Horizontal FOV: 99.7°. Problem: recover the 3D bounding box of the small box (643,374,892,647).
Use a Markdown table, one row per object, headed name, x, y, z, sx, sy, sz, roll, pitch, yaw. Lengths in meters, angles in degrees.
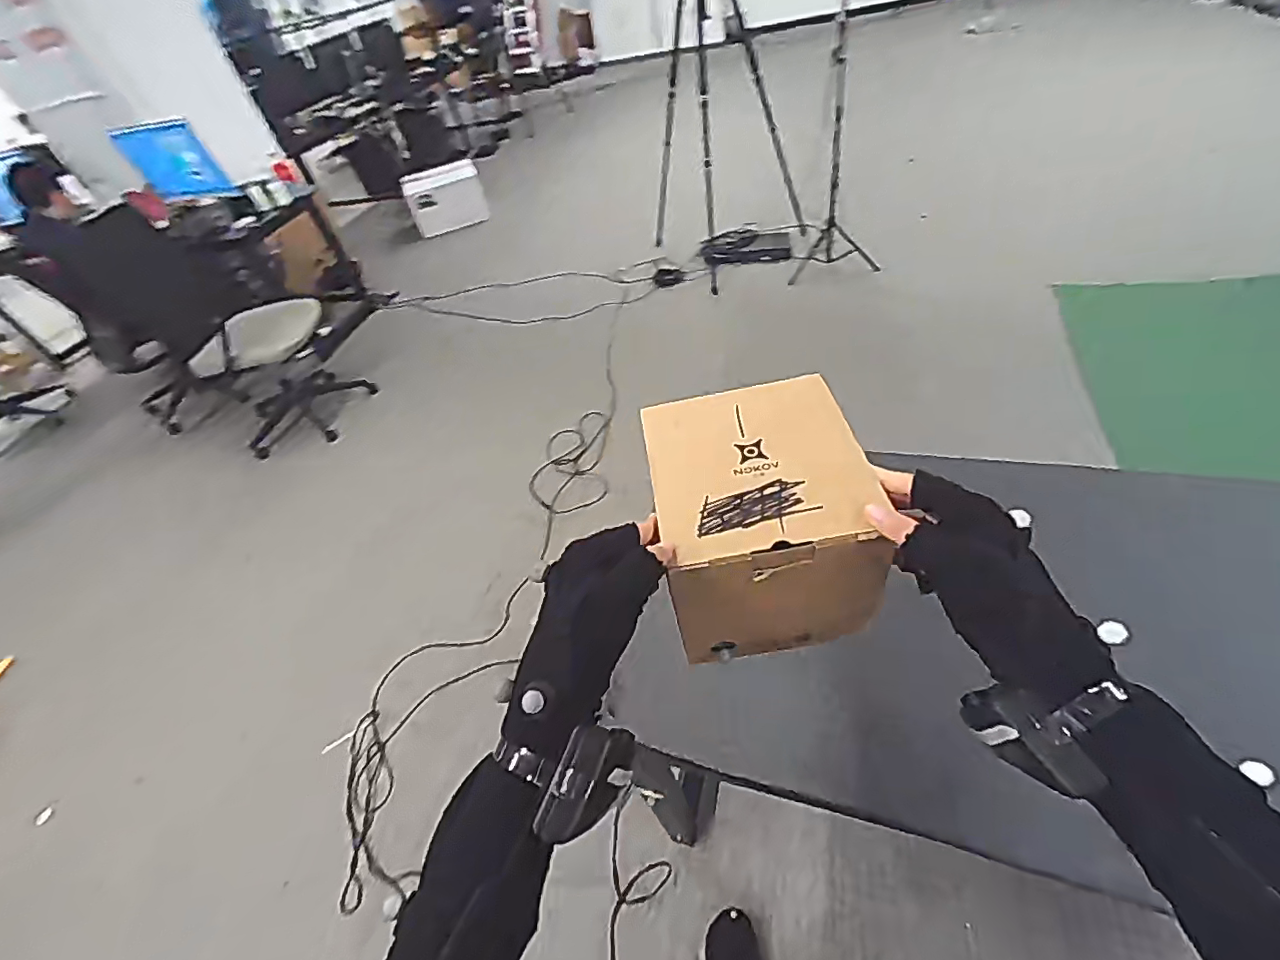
| name | x | y | z | sx | sy | sz | roll | pitch | yaw |
| --- | --- | --- | --- | --- | --- | --- | --- | --- | --- |
| small box | 0.102 | 0.035 | 0.489 | 0.168 | 0.176 | 0.179 | -10 | 48 | 4 |
